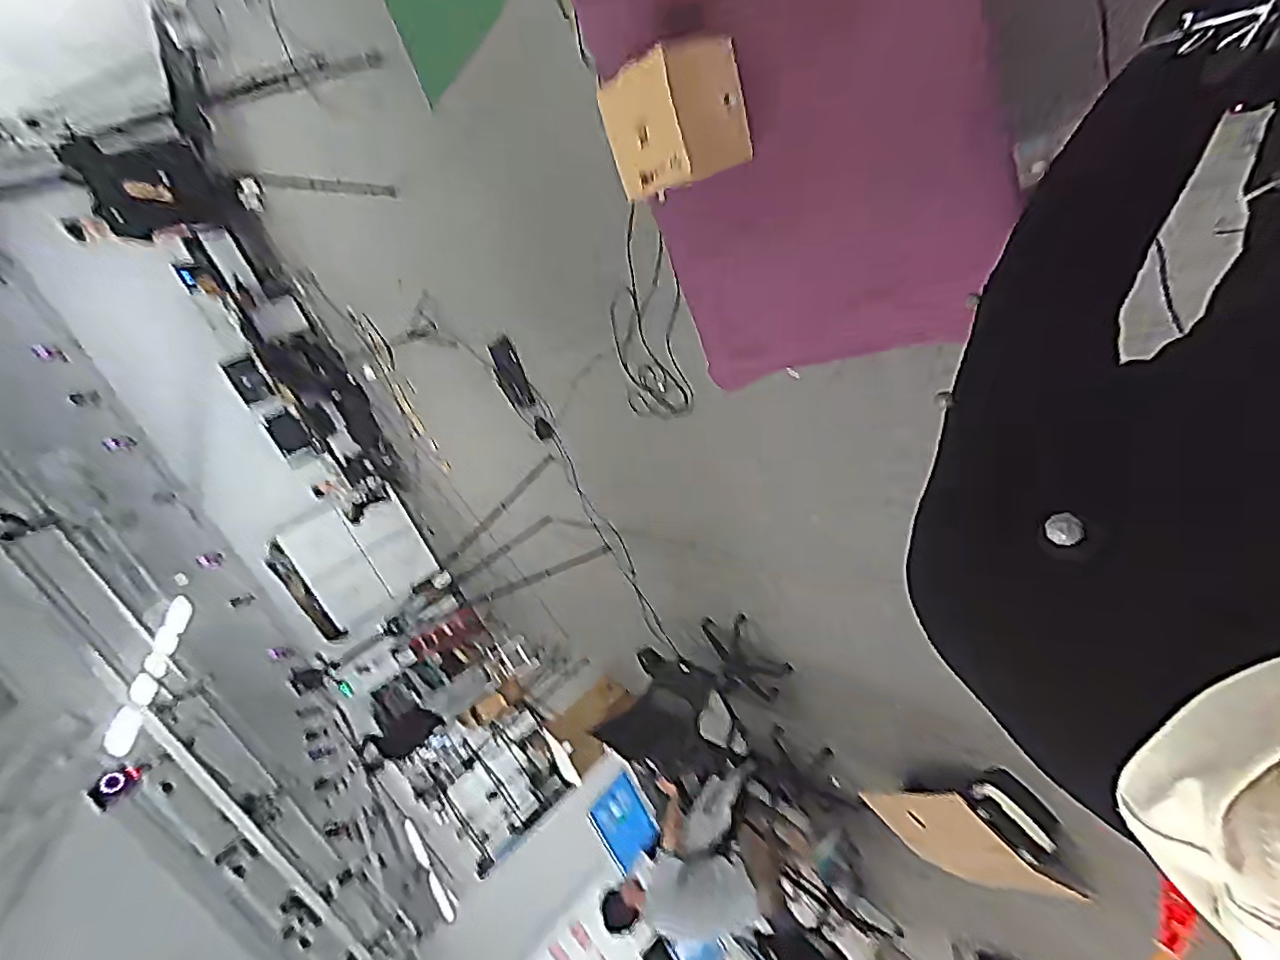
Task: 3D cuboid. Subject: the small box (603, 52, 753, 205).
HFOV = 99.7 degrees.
[{"bbox_3d":[0.070,-0.601,0.930,0.168,0.176,0.179,12,128,50],"label":"small box"}]
